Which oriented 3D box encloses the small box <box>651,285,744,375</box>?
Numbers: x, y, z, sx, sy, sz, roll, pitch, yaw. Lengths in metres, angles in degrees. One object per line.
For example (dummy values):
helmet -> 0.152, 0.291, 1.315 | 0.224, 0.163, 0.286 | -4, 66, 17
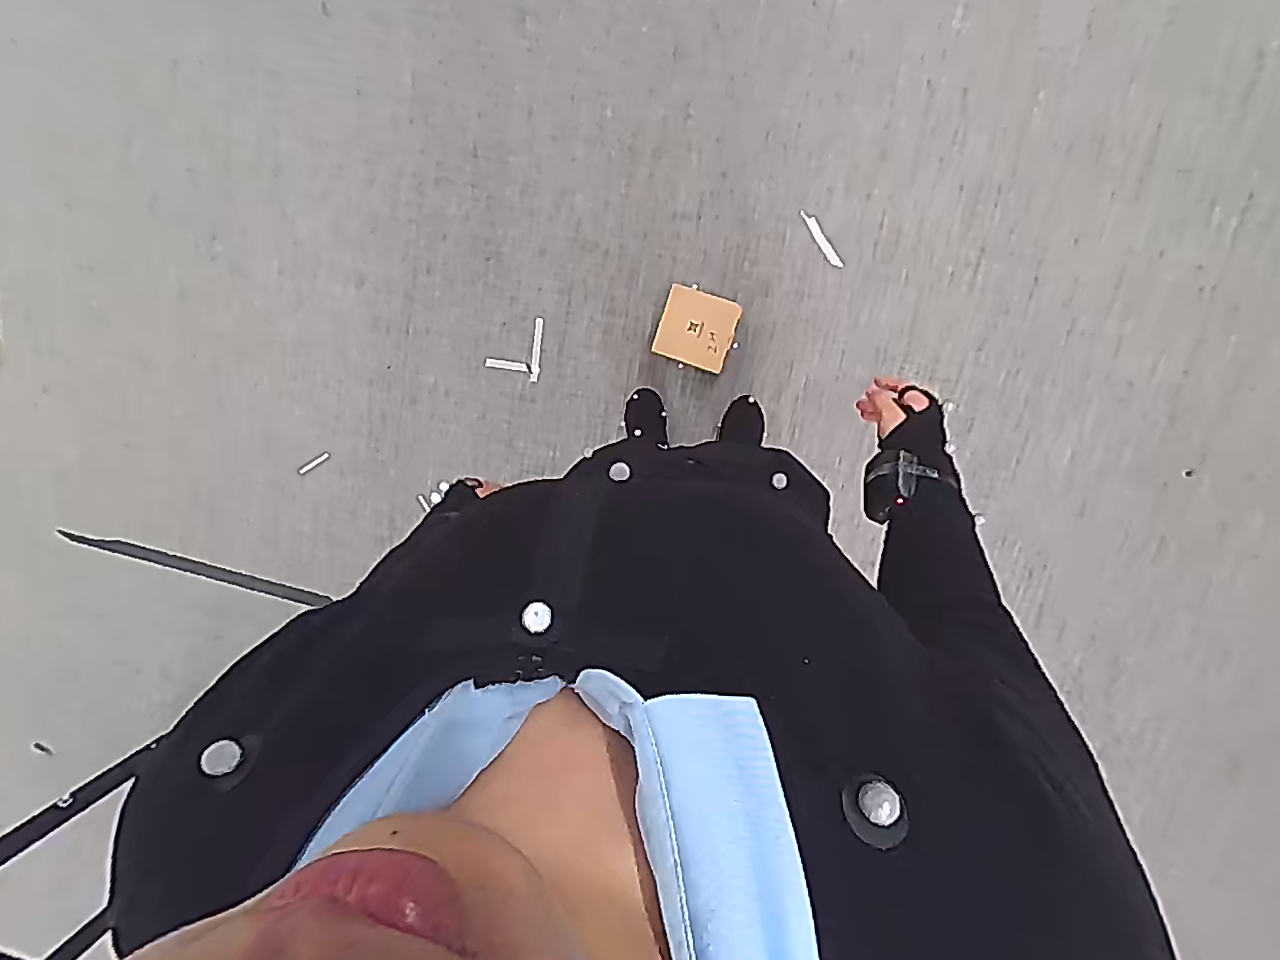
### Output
small box -> 0.145, -0.362, 1.339 | 0.179, 0.176, 0.168 | 21, 103, 5
